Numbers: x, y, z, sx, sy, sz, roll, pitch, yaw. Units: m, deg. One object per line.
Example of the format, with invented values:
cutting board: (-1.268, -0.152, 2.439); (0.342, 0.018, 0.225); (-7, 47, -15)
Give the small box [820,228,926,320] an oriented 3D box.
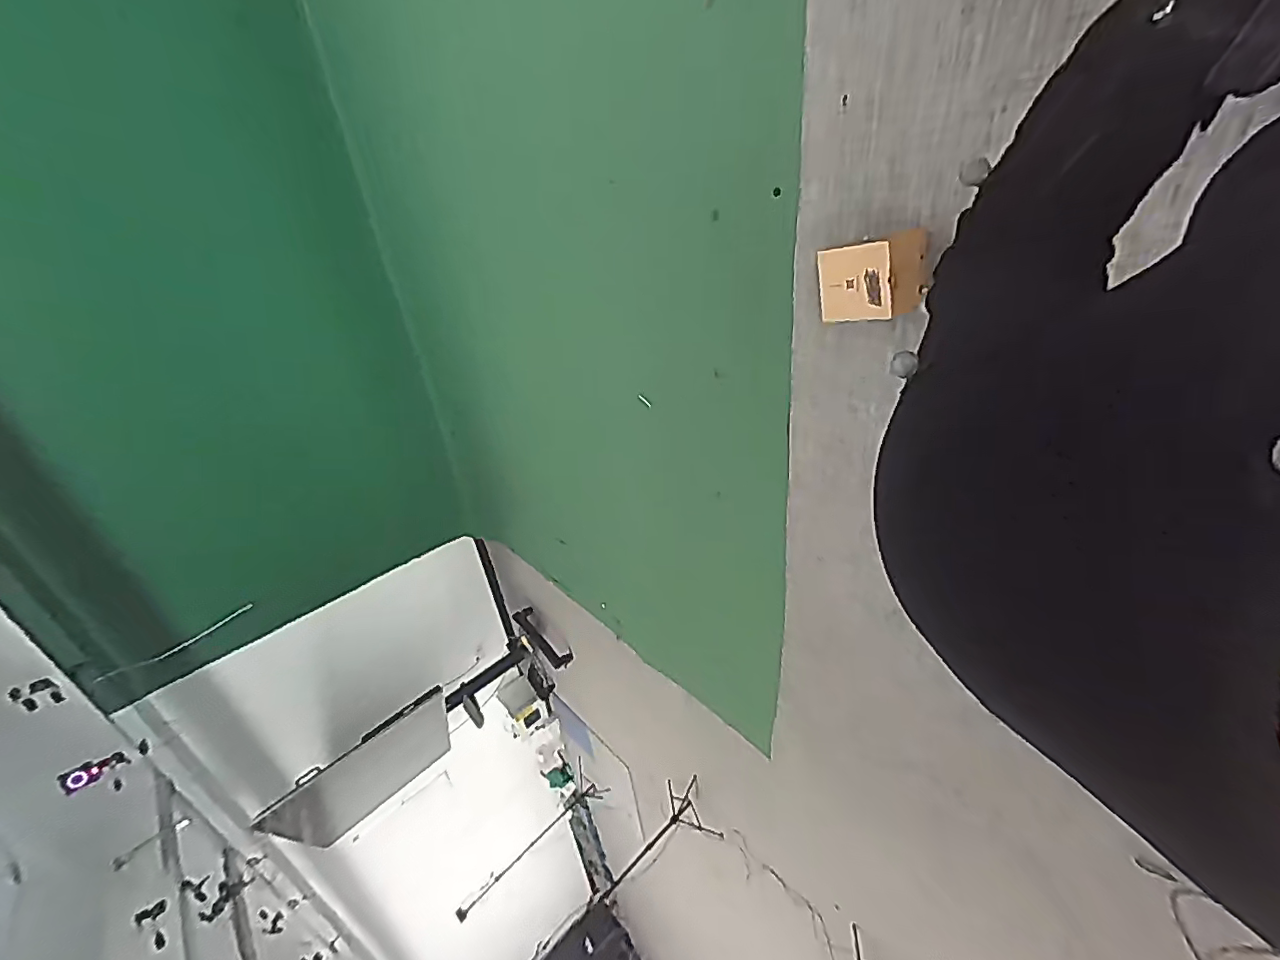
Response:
small box: (0.549, -0.481, 1.266); (0.179, 0.176, 0.168); (16, 126, 49)
